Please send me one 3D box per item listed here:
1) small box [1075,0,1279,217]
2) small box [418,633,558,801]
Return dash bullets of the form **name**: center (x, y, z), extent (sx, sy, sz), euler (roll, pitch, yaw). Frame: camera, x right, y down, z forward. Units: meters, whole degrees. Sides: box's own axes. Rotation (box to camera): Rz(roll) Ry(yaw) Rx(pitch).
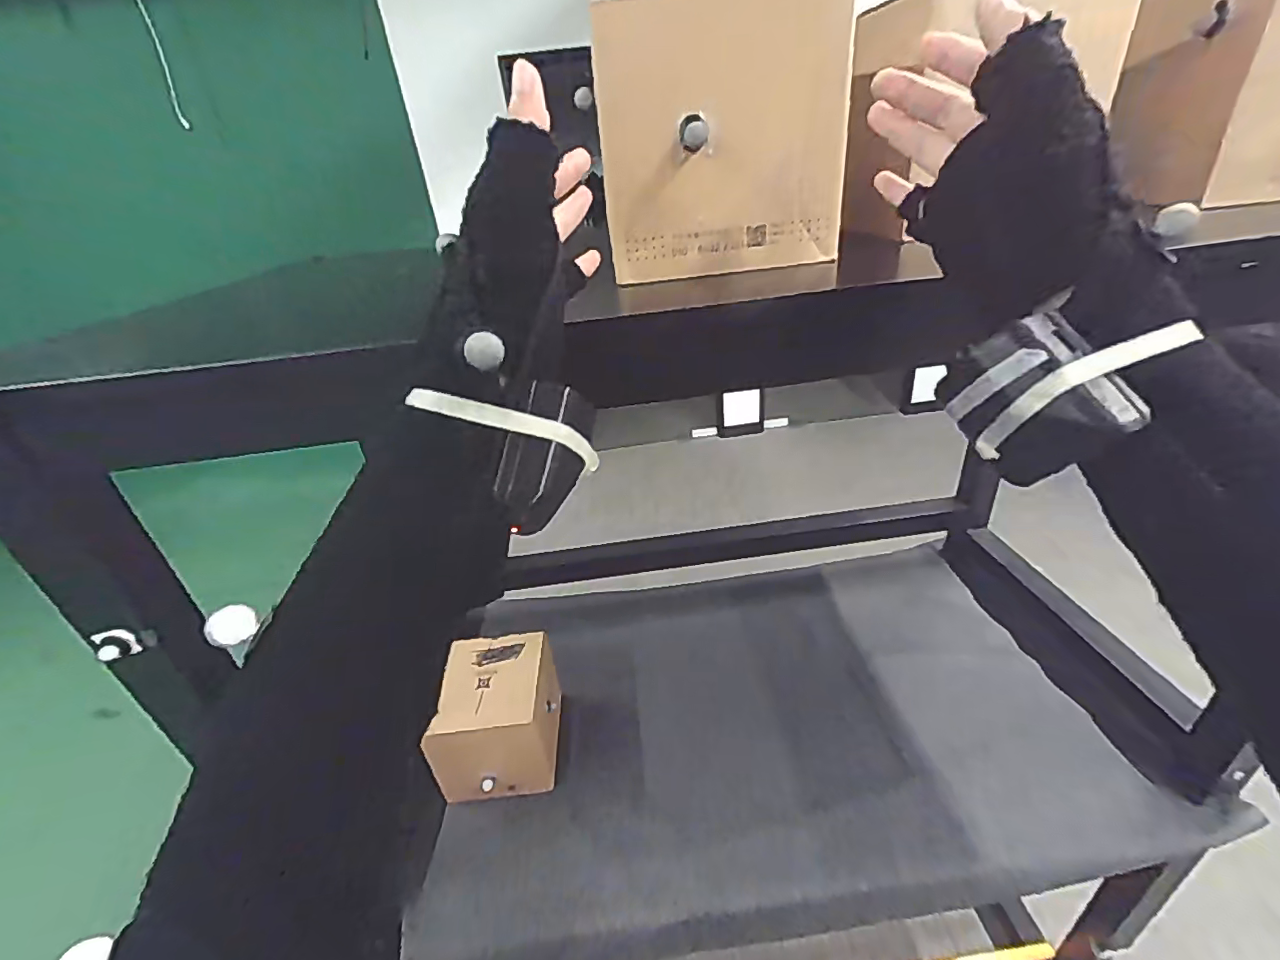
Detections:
- **small box**: center (0.520, -0.322, 0.453), extent (0.168, 0.176, 0.179), euler (-2, 30, 8)
- **small box**: center (-0.227, 0.374, 0.862), extent (0.168, 0.176, 0.179), euler (-7, 30, -1)
